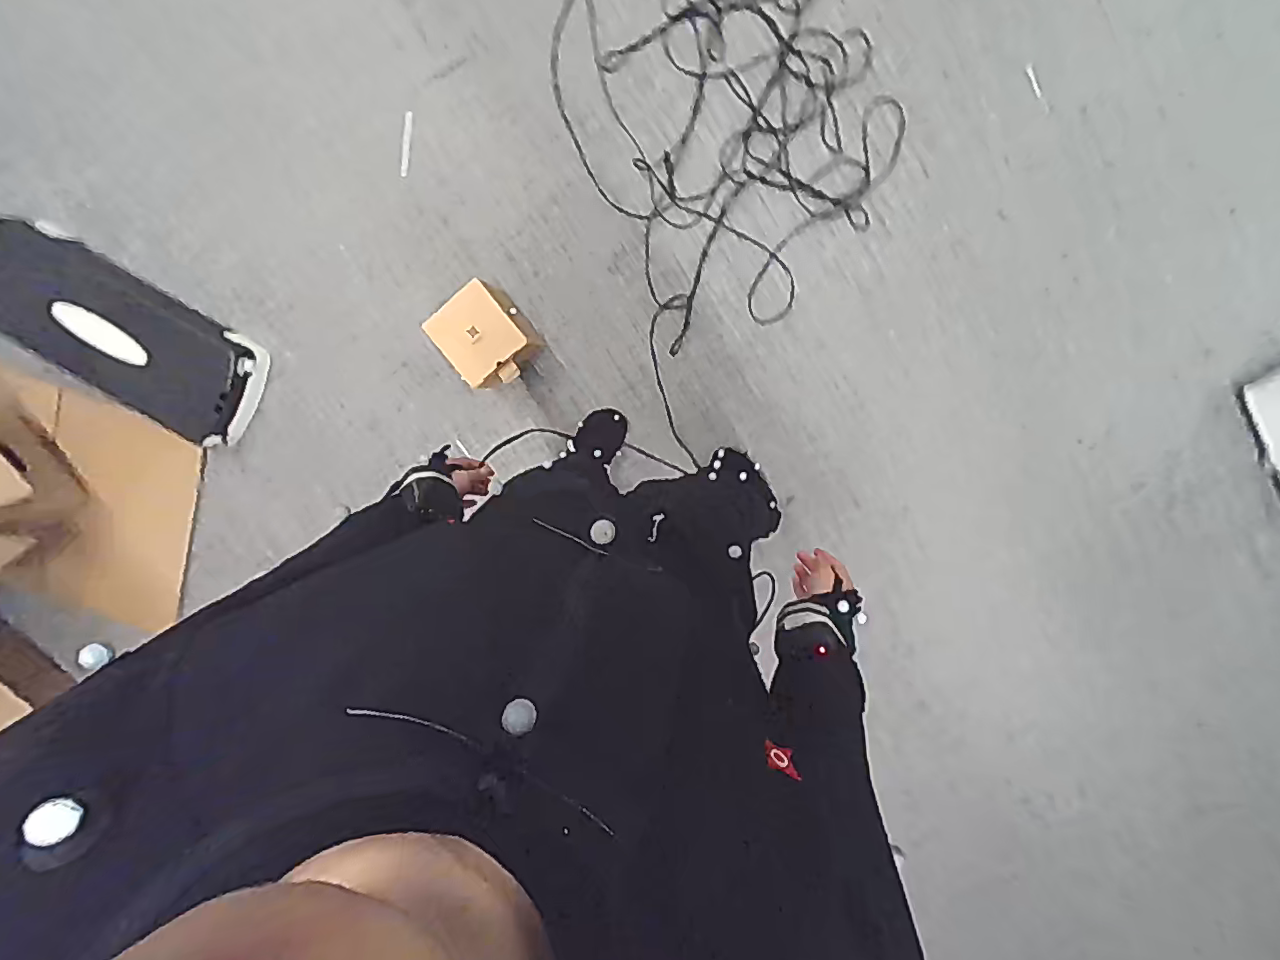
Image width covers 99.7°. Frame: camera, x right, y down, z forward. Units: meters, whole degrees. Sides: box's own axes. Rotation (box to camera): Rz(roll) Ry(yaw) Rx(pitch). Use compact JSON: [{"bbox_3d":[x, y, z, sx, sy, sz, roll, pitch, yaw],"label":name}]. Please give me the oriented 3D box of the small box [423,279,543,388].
[{"bbox_3d":[-0.351,-0.326,1.240,0.168,0.176,0.179,-39,97,9],"label":"small box"}]
